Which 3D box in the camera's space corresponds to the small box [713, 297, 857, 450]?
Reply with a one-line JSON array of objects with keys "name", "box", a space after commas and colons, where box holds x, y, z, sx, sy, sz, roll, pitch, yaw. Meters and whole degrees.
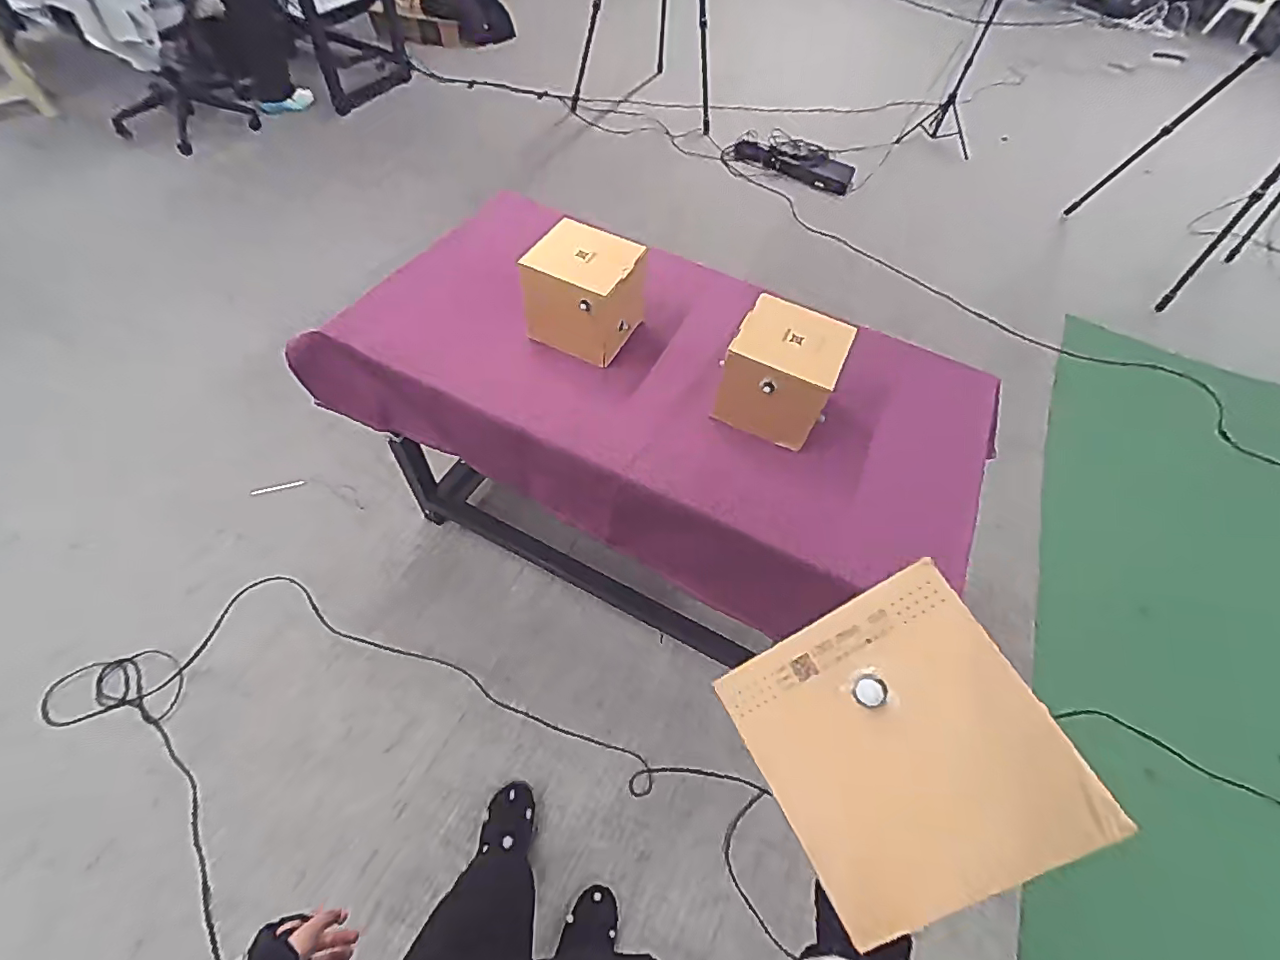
[{"name": "small box", "box": [0.245, -0.180, 0.945, 0.179, 0.176, 0.168, 26, 58, 11]}]

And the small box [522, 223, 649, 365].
[{"name": "small box", "box": [-0.102, -0.346, 1.024, 0.179, 0.176, 0.168, 24, 57, 10]}]

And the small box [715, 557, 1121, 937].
[{"name": "small box", "box": [0.181, 0.173, 0.405, 0.168, 0.179, 0.176, -36, 66, 11]}]
